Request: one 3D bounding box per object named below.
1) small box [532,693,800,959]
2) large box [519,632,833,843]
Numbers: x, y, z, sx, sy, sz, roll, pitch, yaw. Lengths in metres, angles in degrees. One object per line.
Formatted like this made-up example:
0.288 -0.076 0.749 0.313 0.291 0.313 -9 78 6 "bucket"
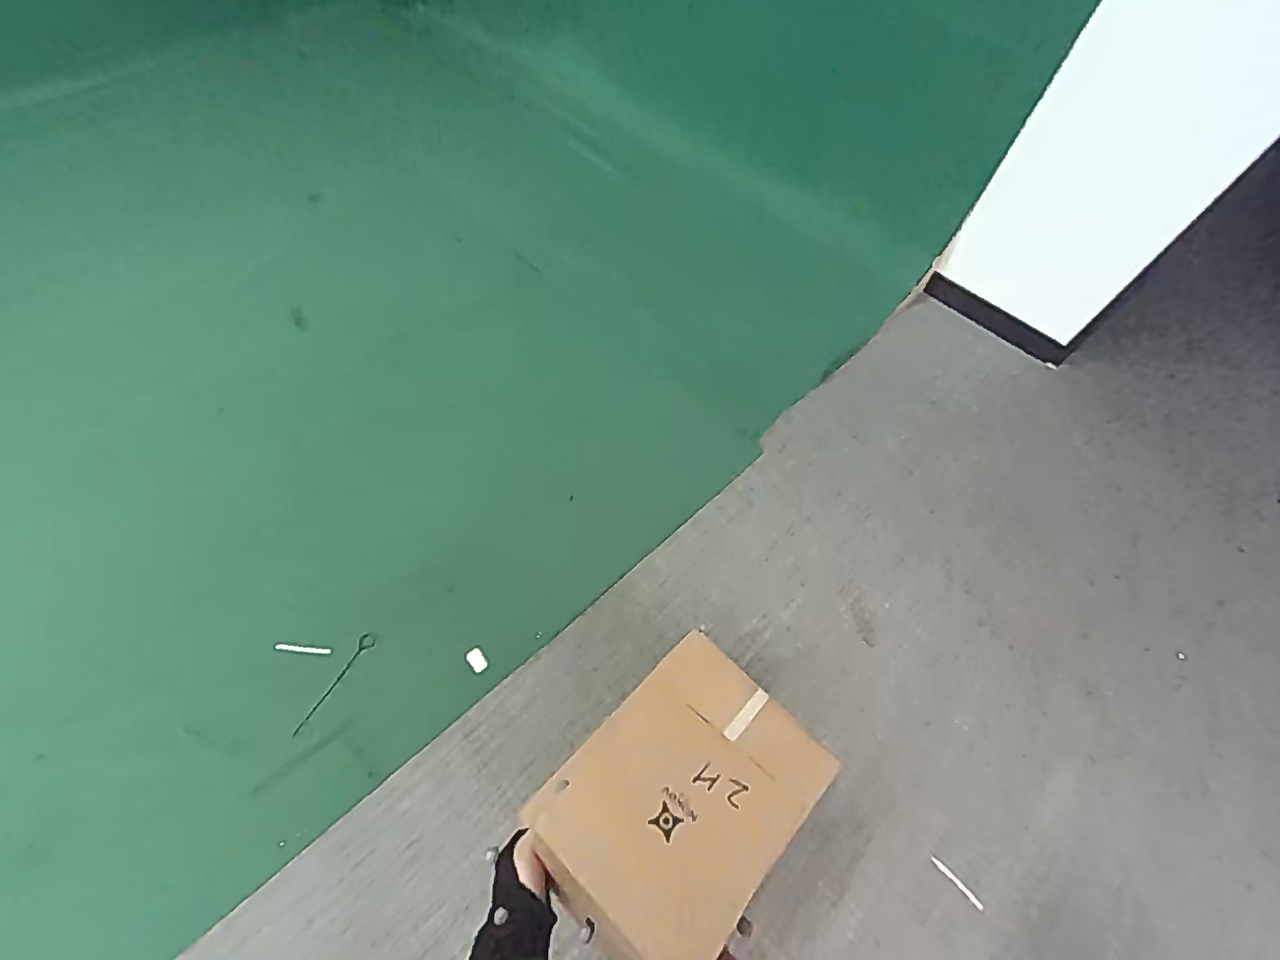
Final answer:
0.019 0.353 0.513 0.168 0.176 0.179 35 49 26 "small box"
0.055 0.555 0.947 0.408 0.320 0.320 -39 69 -24 "large box"
